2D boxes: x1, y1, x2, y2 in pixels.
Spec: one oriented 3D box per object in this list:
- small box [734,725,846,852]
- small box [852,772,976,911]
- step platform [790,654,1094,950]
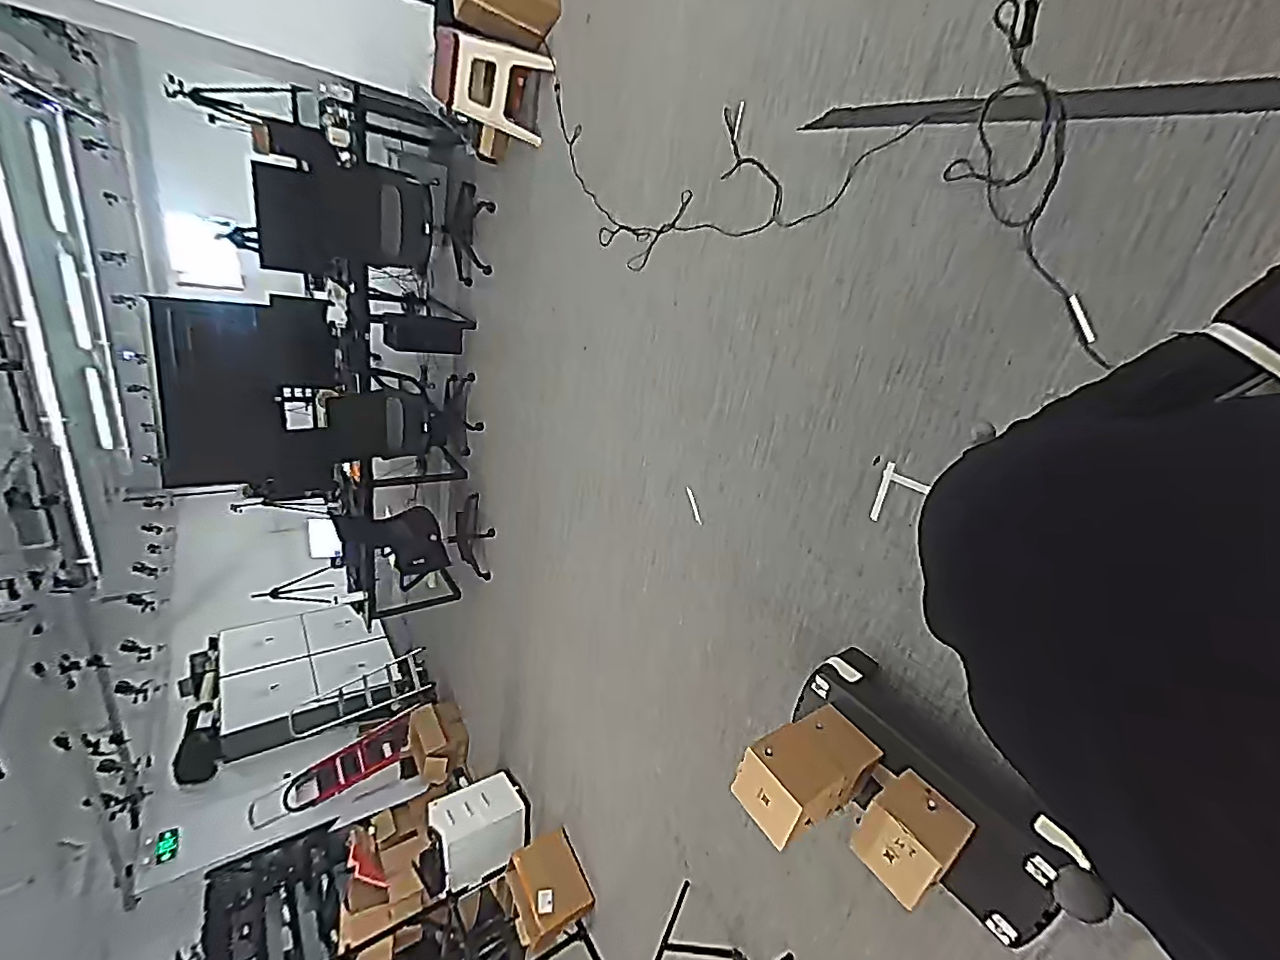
[{"bbox_3d":[0.363,0.735,1.308,0.179,0.176,0.168,39,126,44],"label":"small box"},{"bbox_3d":[0.628,0.819,1.238,0.168,0.176,0.179,37,124,44],"label":"small box"},{"bbox_3d":[0.716,0.783,1.406,0.684,0.204,0.286,35,123,45],"label":"step platform"}]
